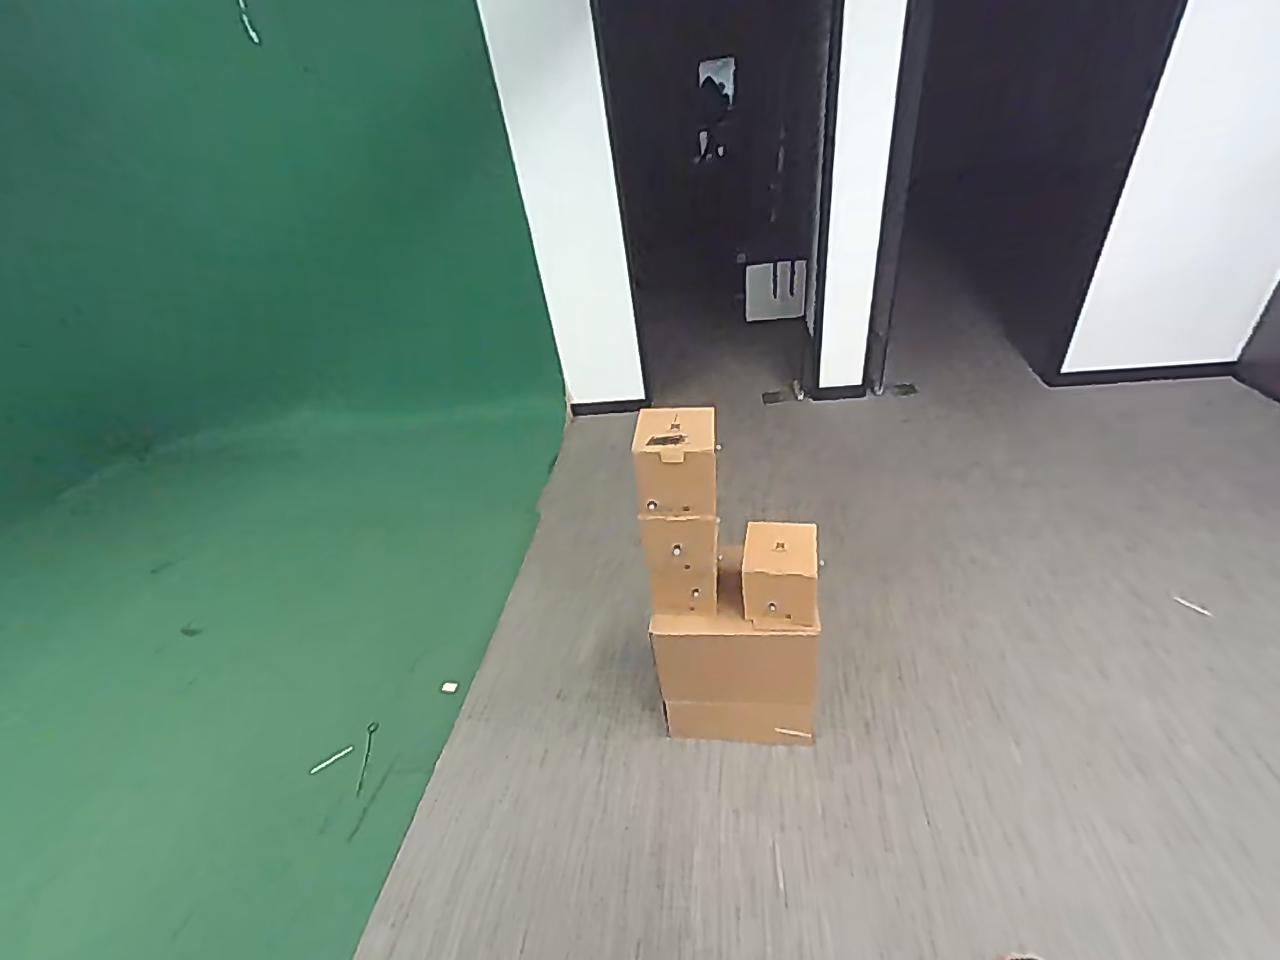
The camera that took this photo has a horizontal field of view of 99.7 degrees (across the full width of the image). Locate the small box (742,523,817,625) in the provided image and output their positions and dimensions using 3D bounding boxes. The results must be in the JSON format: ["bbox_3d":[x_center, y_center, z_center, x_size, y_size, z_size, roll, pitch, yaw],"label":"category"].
[{"bbox_3d":[0.339,0.225,1.313,0.168,0.176,0.179,0,37,16],"label":"small box"}]

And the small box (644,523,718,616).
[{"bbox_3d":[0.111,0.225,1.368,0.168,0.176,0.179,0,36,10],"label":"small box"}]

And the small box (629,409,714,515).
[{"bbox_3d":[0.075,-0.036,1.173,0.168,0.176,0.179,-1,36,8],"label":"small box"}]

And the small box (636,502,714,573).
[{"bbox_3d":[0.089,0.101,1.263,0.168,0.176,0.179,-1,37,8],"label":"small box"}]
